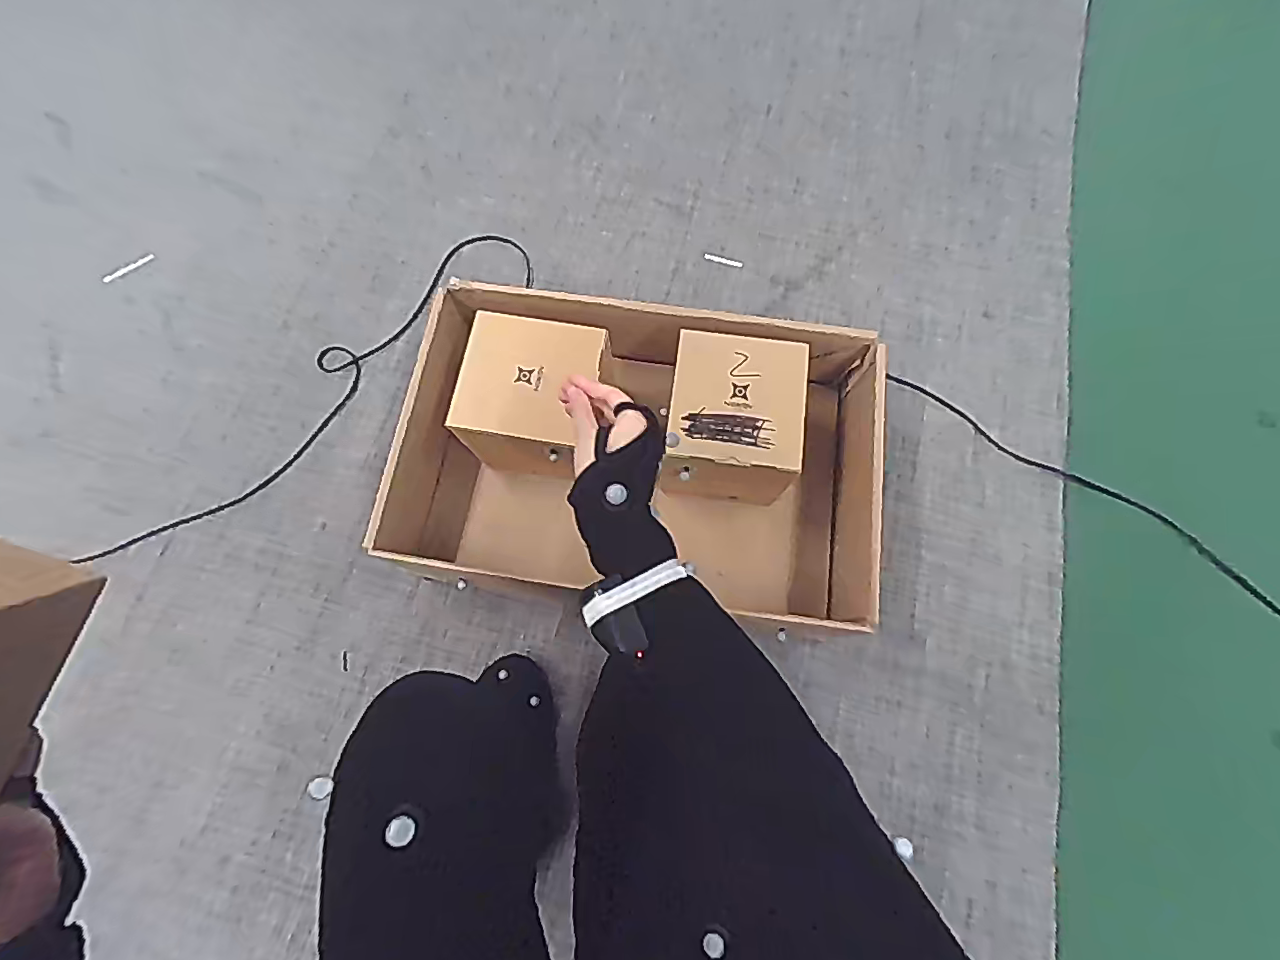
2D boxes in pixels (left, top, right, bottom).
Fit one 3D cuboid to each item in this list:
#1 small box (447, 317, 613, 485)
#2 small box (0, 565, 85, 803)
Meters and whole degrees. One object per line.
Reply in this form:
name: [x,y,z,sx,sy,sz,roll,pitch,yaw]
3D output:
small box: [-0.140,-0.101,0.758,0.179,0.176,0.168,9,74,2]
small box: [-0.369,0.105,0.188,0.168,0.176,0.179,25,86,-13]
